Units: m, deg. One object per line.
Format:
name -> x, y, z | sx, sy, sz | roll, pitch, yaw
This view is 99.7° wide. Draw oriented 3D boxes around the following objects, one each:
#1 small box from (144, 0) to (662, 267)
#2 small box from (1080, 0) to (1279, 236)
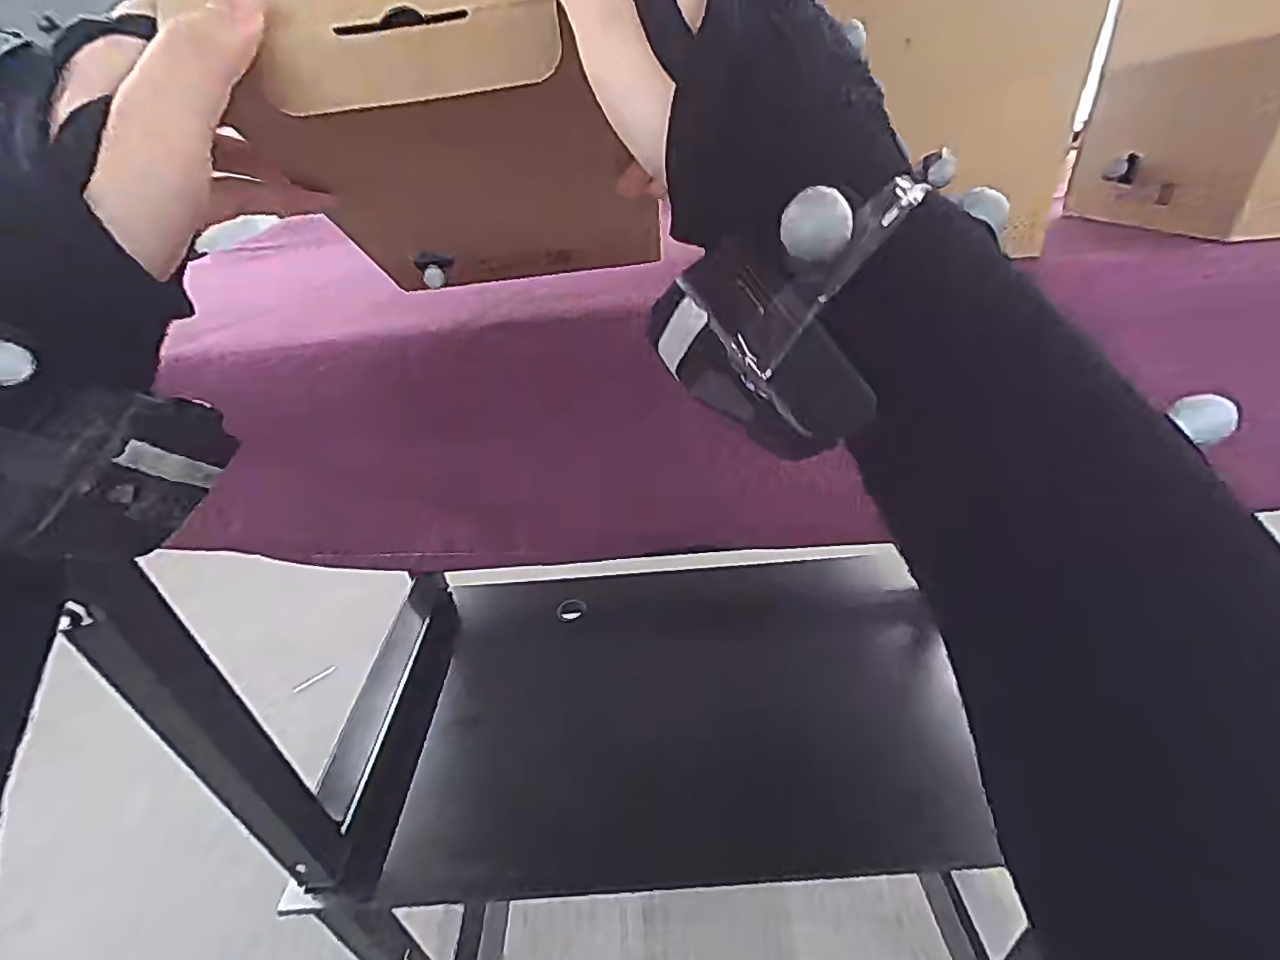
small box -> -0.079, -0.222, 0.259 | 0.168, 0.179, 0.176 | -6, -9, 3
small box -> 0.451, -0.268, 0.354 | 0.179, 0.176, 0.168 | -5, 31, 4
